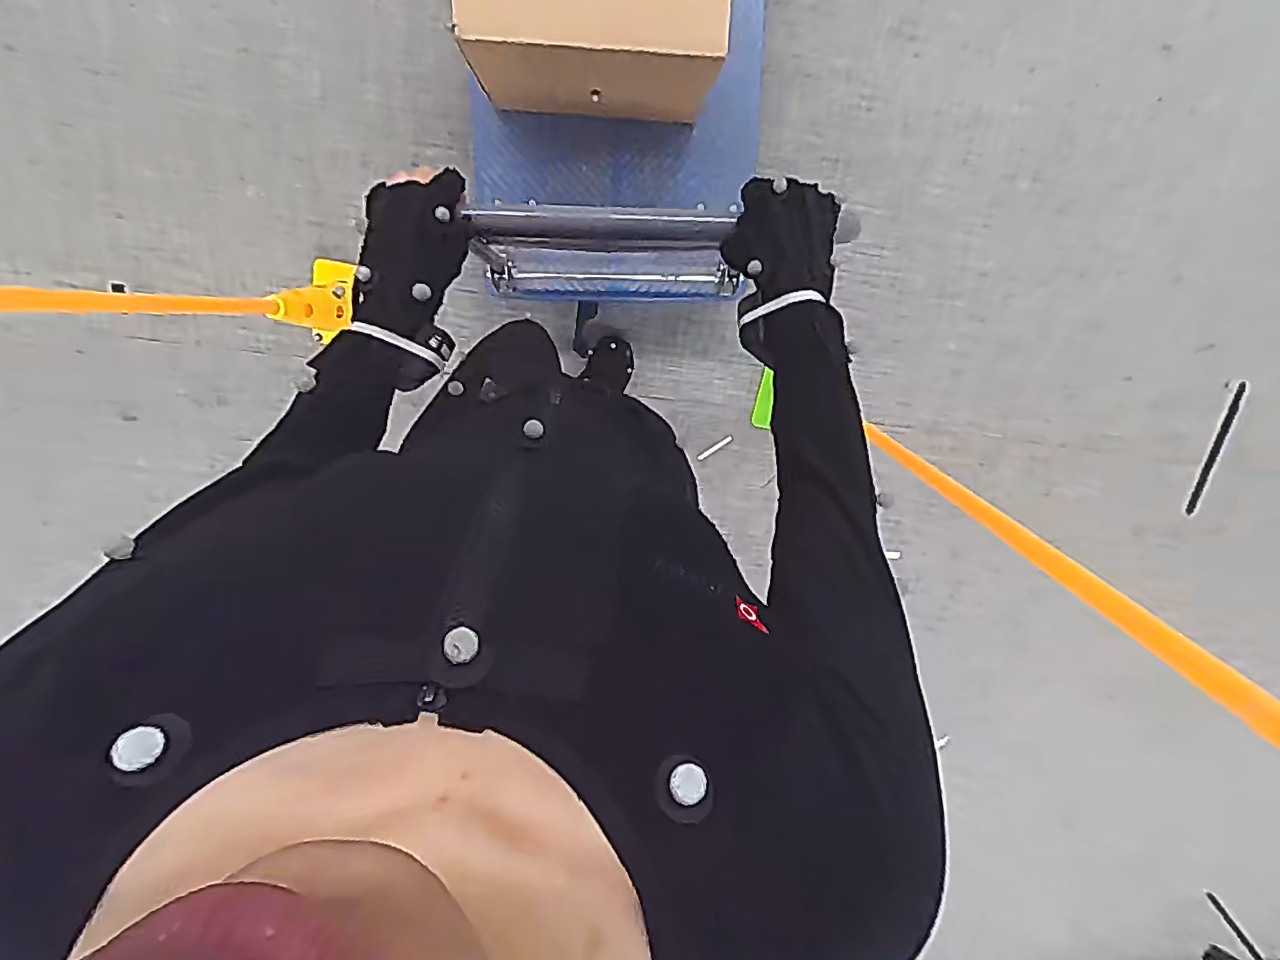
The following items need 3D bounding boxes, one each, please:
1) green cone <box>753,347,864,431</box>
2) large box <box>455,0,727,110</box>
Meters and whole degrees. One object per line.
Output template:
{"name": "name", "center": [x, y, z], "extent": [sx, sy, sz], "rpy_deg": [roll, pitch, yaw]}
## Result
{"name": "green cone", "center": [0.426, -0.189, 1.284], "extent": [0.202, 0.368, 0.200], "rpy_deg": [10, 107, -7]}
{"name": "large box", "center": [-0.072, -0.843, 0.899], "extent": [0.408, 0.320, 0.320], "rpy_deg": [2, 108, -3]}
